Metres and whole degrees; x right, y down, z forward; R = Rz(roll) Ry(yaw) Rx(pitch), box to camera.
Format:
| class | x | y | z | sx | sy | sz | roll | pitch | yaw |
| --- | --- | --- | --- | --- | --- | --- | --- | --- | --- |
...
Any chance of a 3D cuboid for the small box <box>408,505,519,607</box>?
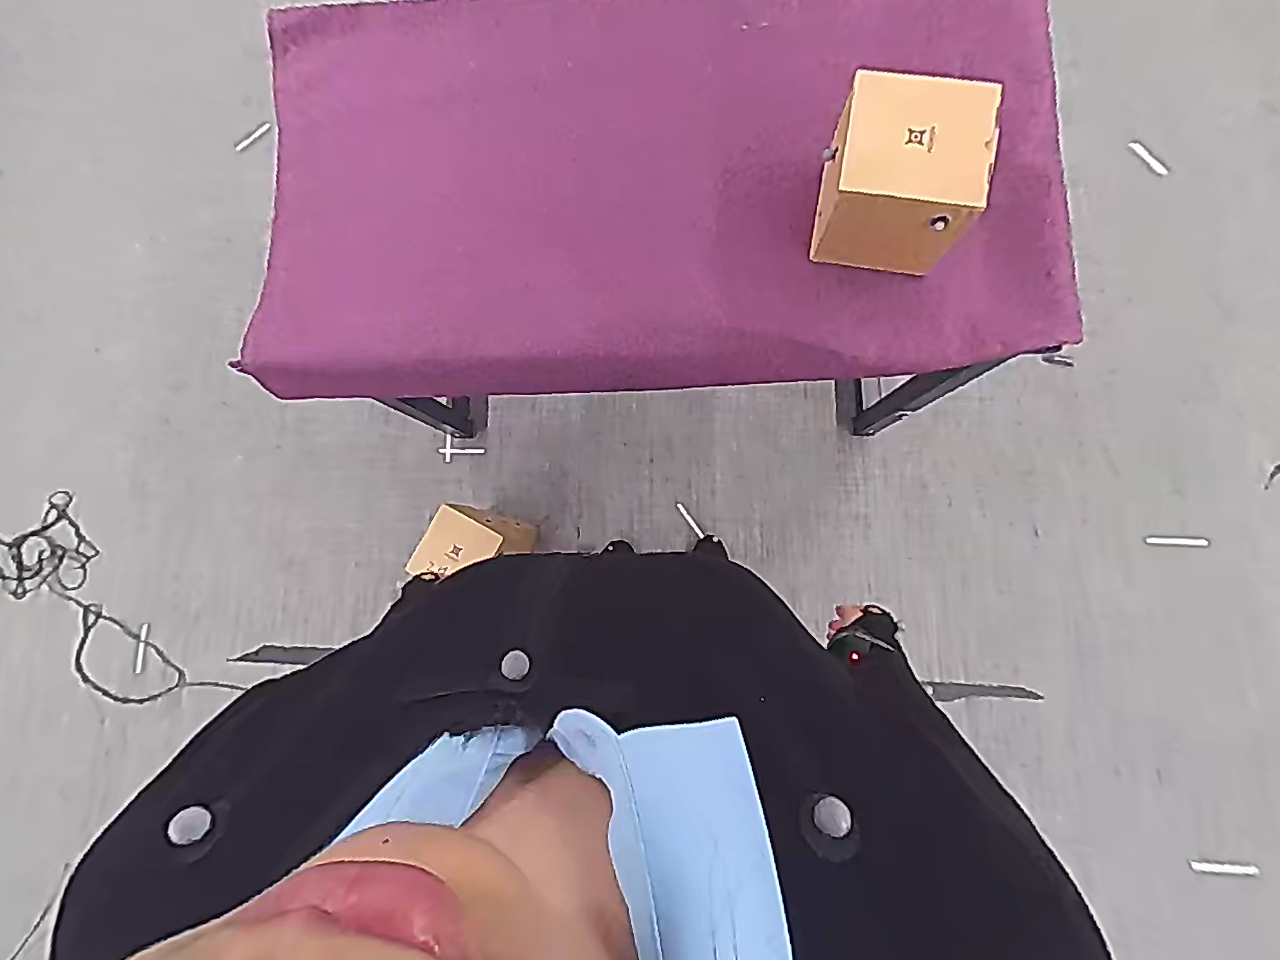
| class | x | y | z | sx | sy | sz | roll | pitch | yaw |
| --- | --- | --- | --- | --- | --- | --- | --- | --- | --- |
| small box | -0.407 | 0.176 | 1.287 | 0.168 | 0.176 | 0.179 | 28 | 87 | 6 |

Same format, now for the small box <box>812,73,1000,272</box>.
| class | x | y | z | sx | sy | sz | roll | pitch | yaw |
| --- | --- | --- | --- | --- | --- | --- | --- | --- | --- |
| small box | 0.347 | -0.405 | 0.737 | 0.179 | 0.176 | 0.168 | 10 | 84 | 5 |
